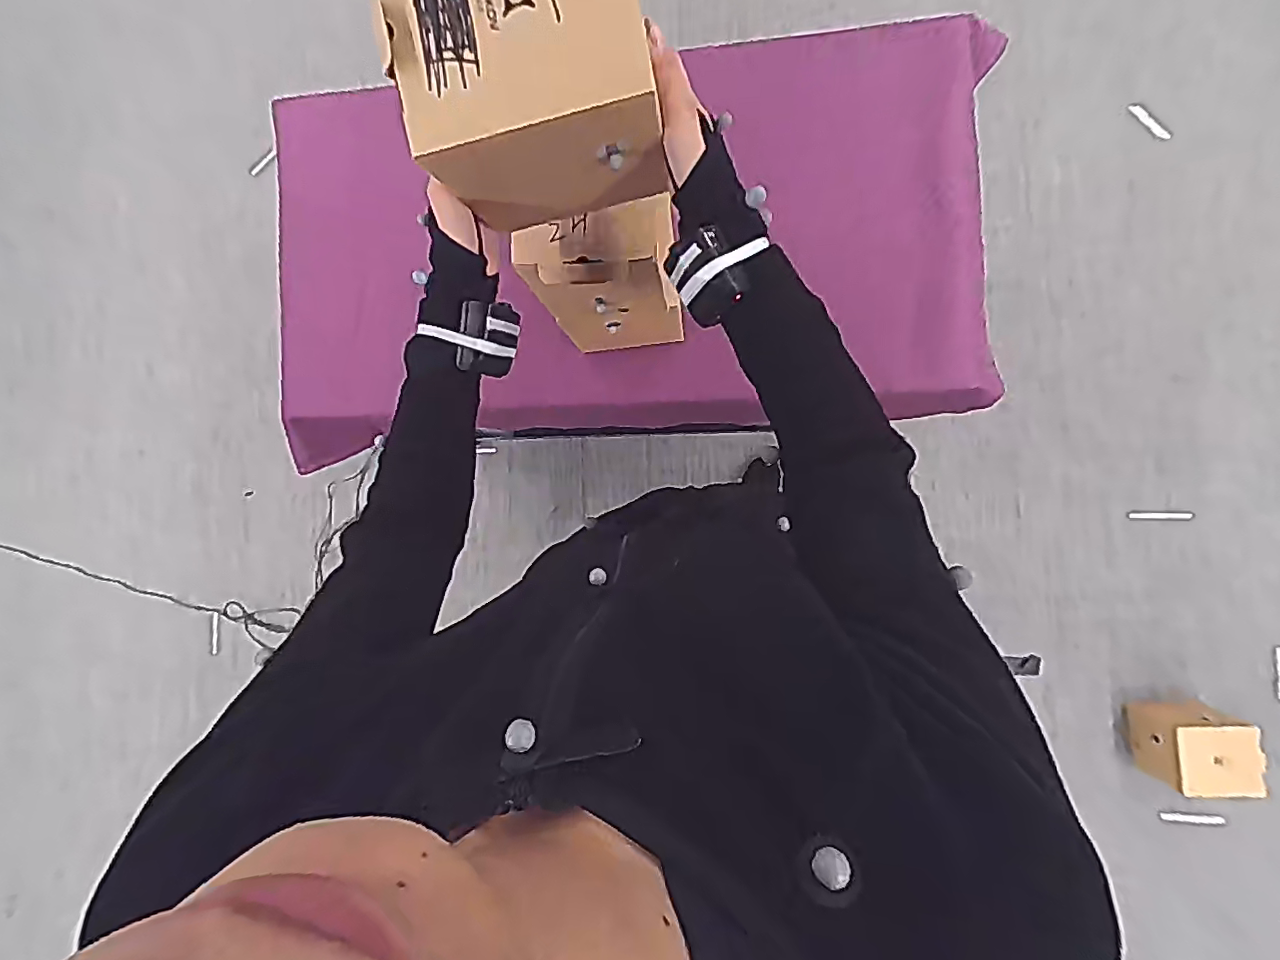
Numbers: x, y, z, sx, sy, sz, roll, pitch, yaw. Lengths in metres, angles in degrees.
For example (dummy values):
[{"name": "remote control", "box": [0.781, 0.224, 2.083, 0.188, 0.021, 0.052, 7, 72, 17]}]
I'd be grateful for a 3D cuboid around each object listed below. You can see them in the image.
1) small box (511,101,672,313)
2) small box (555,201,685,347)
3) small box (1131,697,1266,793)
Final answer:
[{"name": "small box", "box": [-0.049, -0.322, 0.670, 0.168, 0.176, 0.179, 1, 88, 8]}, {"name": "small box", "box": [-0.028, -0.313, 0.833, 0.179, 0.176, 0.168, -5, 88, 7]}, {"name": "small box", "box": [1.386, 0.658, 1.359, 0.179, 0.176, 0.168, -4, 88, 7]}]
